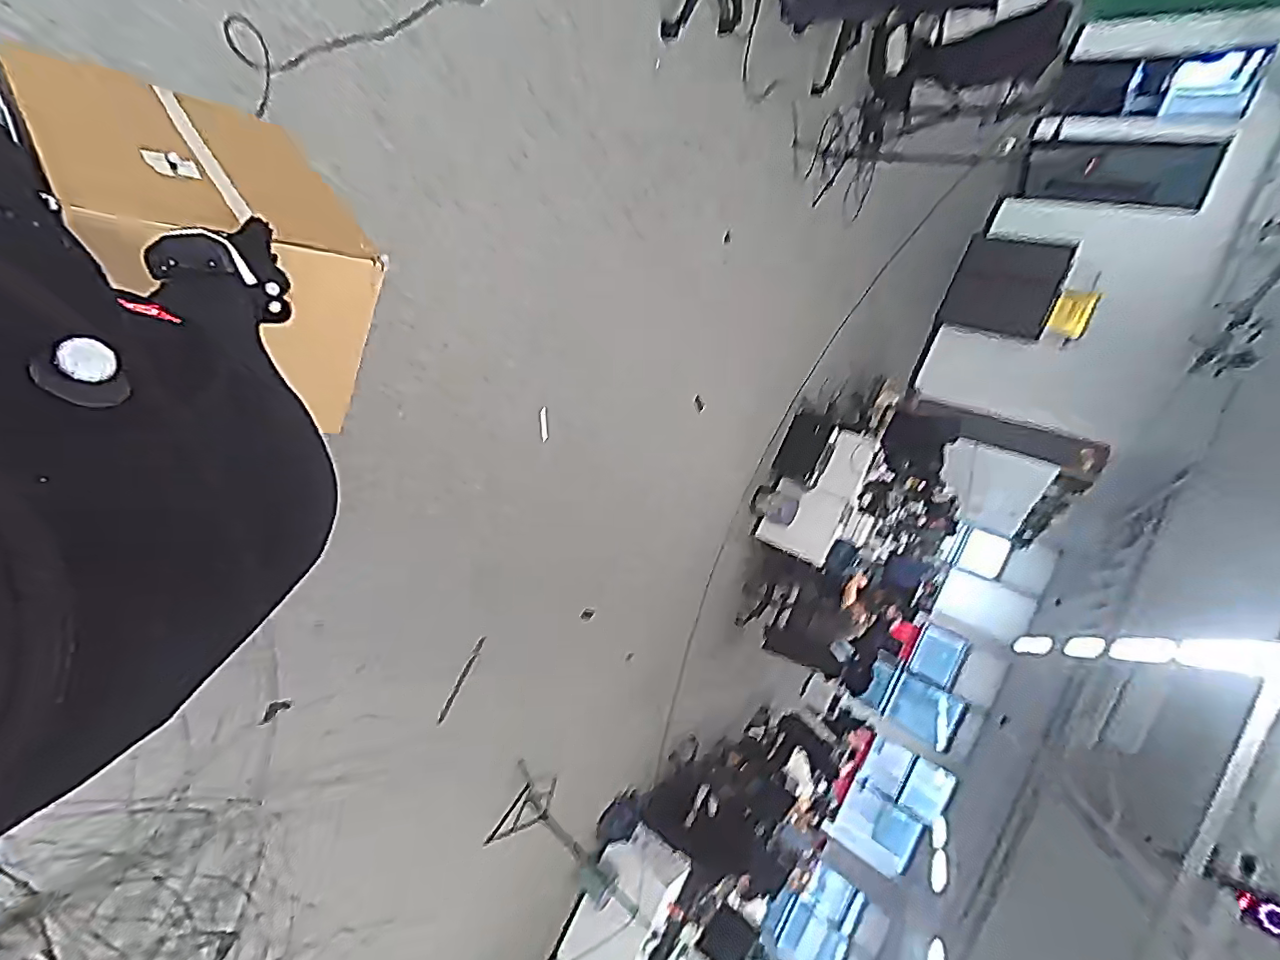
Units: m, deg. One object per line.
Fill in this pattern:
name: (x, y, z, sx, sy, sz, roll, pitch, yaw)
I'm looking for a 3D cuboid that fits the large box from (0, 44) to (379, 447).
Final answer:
large box: (-0.647, -0.301, 0.772, 0.320, 0.408, 0.320, -12, 145, -50)
